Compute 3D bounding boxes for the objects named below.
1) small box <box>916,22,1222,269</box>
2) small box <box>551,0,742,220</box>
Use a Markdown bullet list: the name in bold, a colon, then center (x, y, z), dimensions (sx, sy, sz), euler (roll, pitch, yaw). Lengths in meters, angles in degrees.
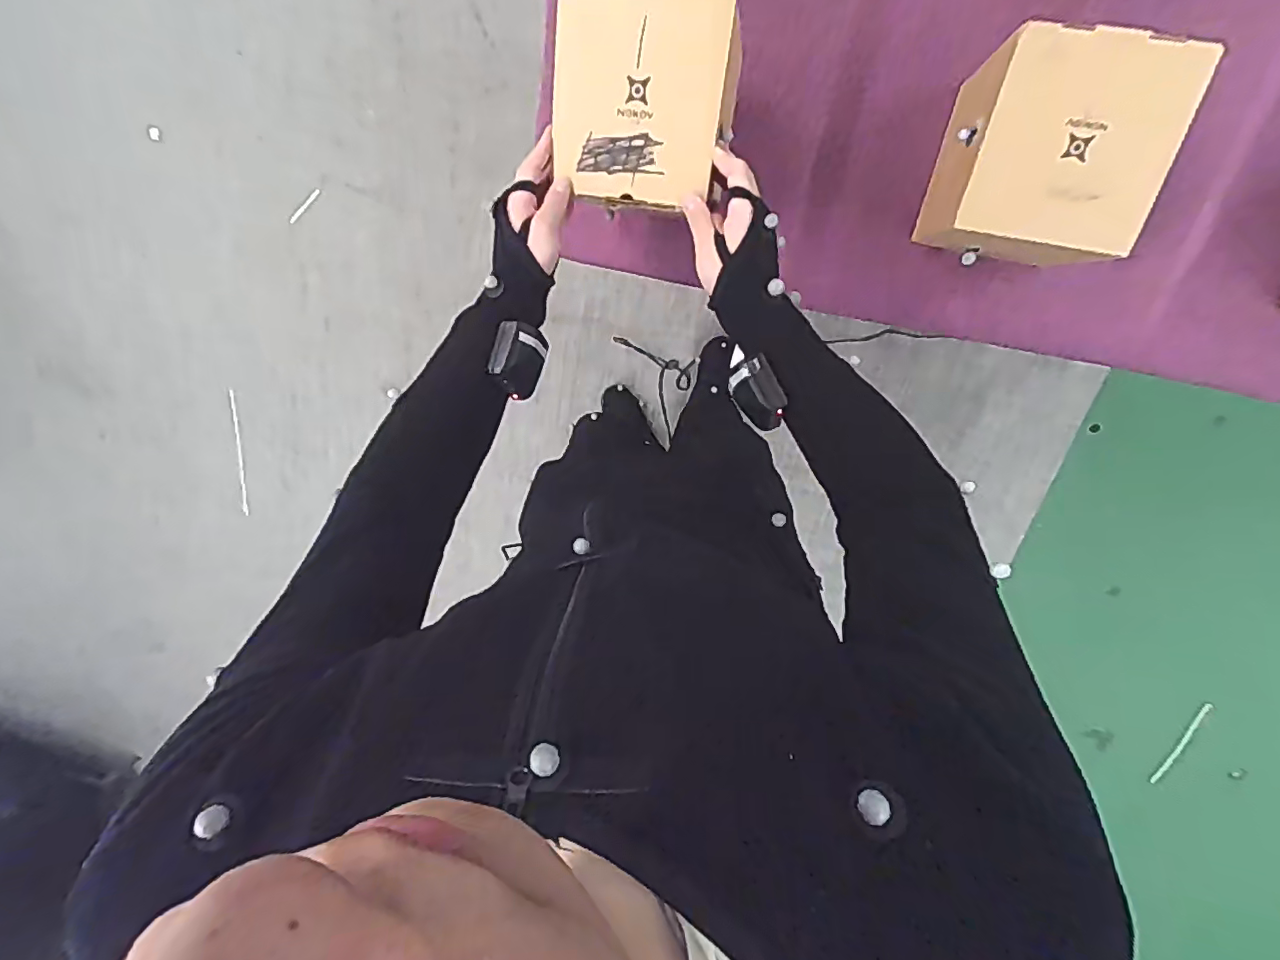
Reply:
- **small box**: center (0.423, -0.334, 0.577), dimensions (0.168, 0.176, 0.179), euler (14, 111, 7)
- **small box**: center (0.014, -0.387, 0.582), dimensions (0.168, 0.176, 0.179), euler (11, 113, 7)
